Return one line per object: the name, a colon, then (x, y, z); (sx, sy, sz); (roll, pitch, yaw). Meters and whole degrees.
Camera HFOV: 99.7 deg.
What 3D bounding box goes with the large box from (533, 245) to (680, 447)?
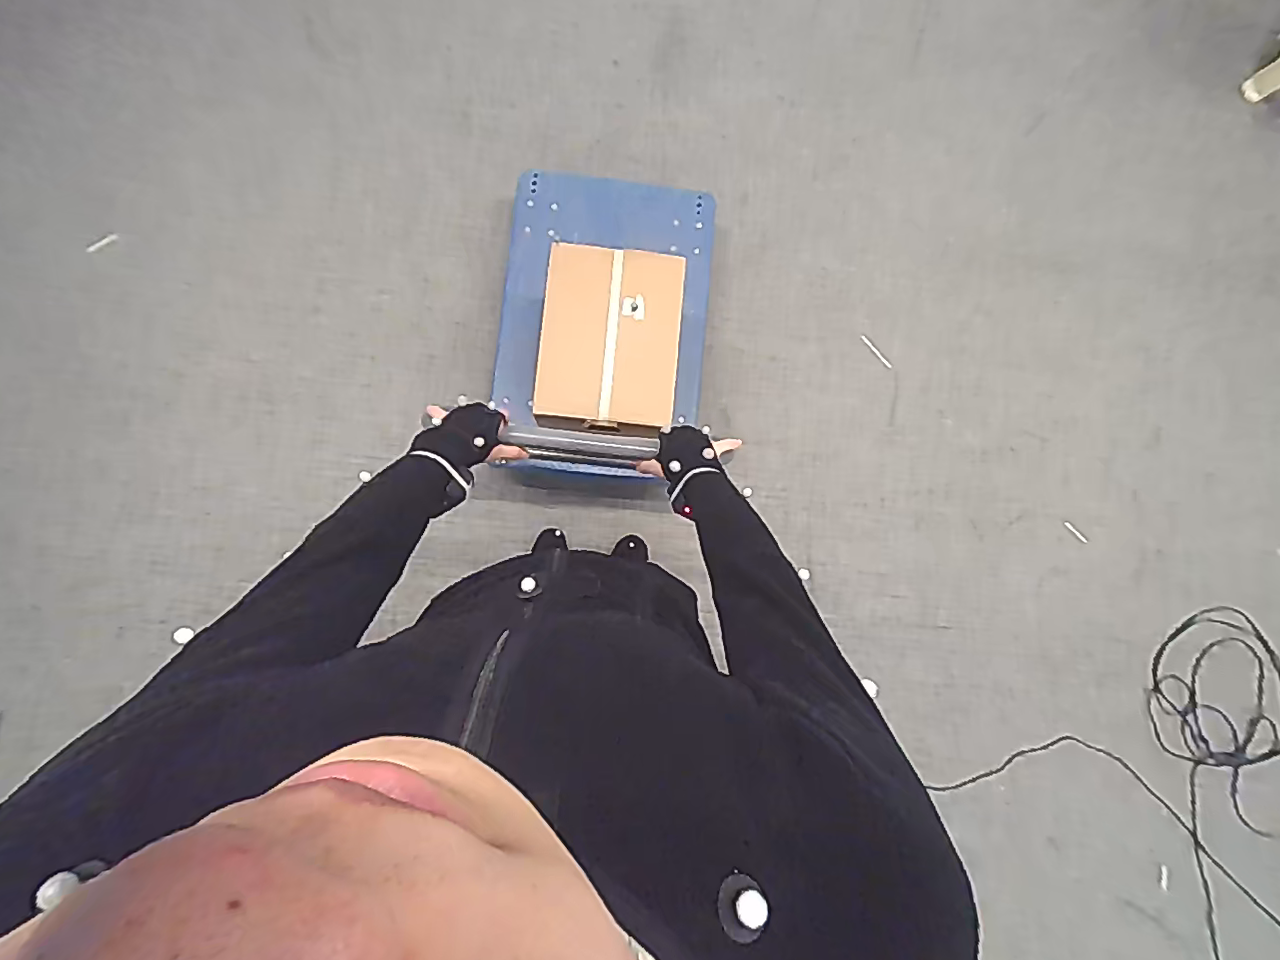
large box: (-0.081, -0.312, 1.369); (0.320, 0.320, 0.408); (5, 83, -4)
